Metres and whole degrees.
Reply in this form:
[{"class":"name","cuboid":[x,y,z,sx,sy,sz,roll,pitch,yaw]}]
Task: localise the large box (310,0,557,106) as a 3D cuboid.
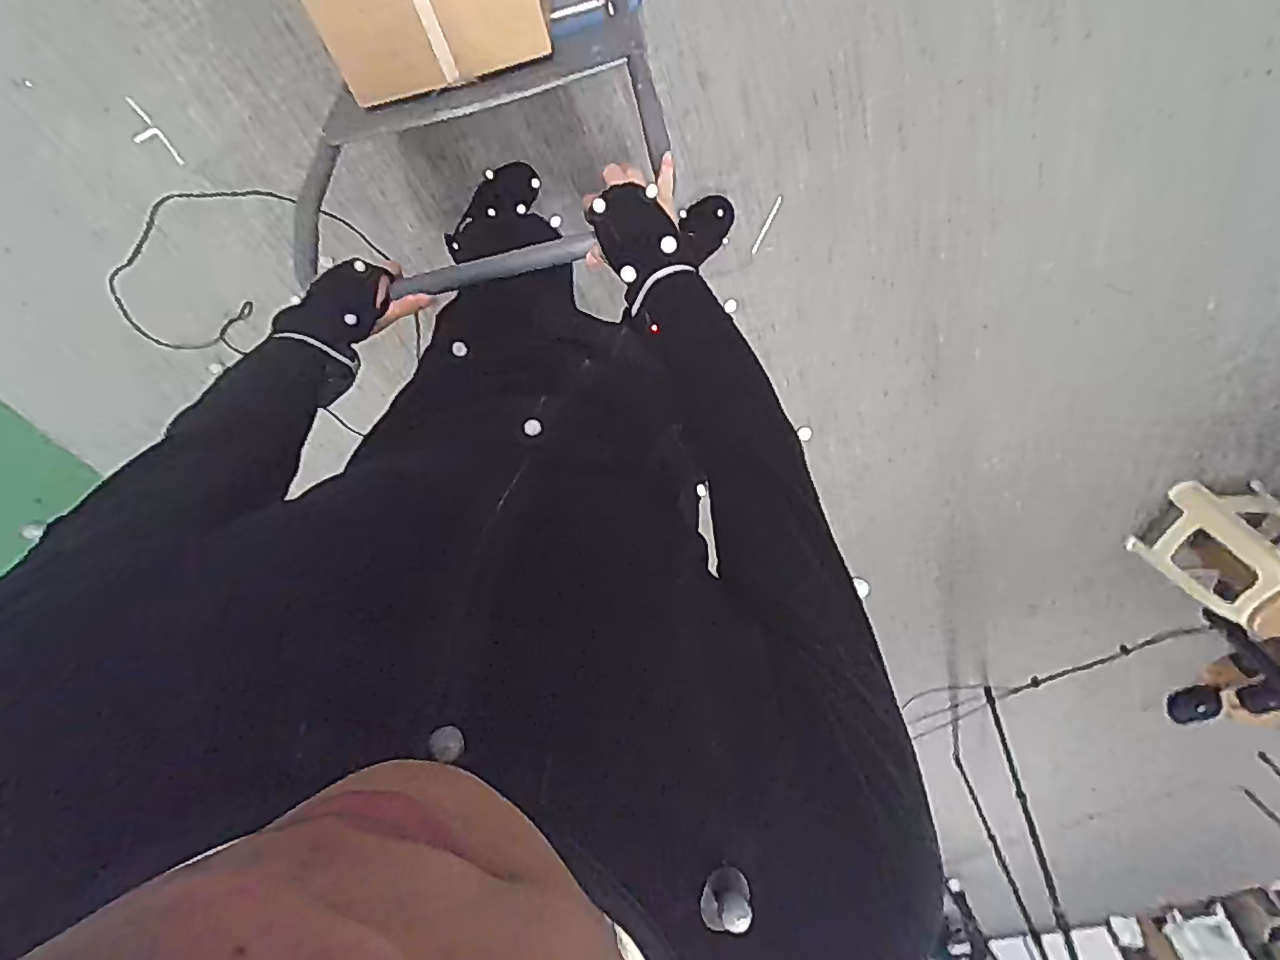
[{"class":"large box","cuboid":[-0.326,-0.837,0.751,0.320,0.320,0.408,-12,143,6]}]
